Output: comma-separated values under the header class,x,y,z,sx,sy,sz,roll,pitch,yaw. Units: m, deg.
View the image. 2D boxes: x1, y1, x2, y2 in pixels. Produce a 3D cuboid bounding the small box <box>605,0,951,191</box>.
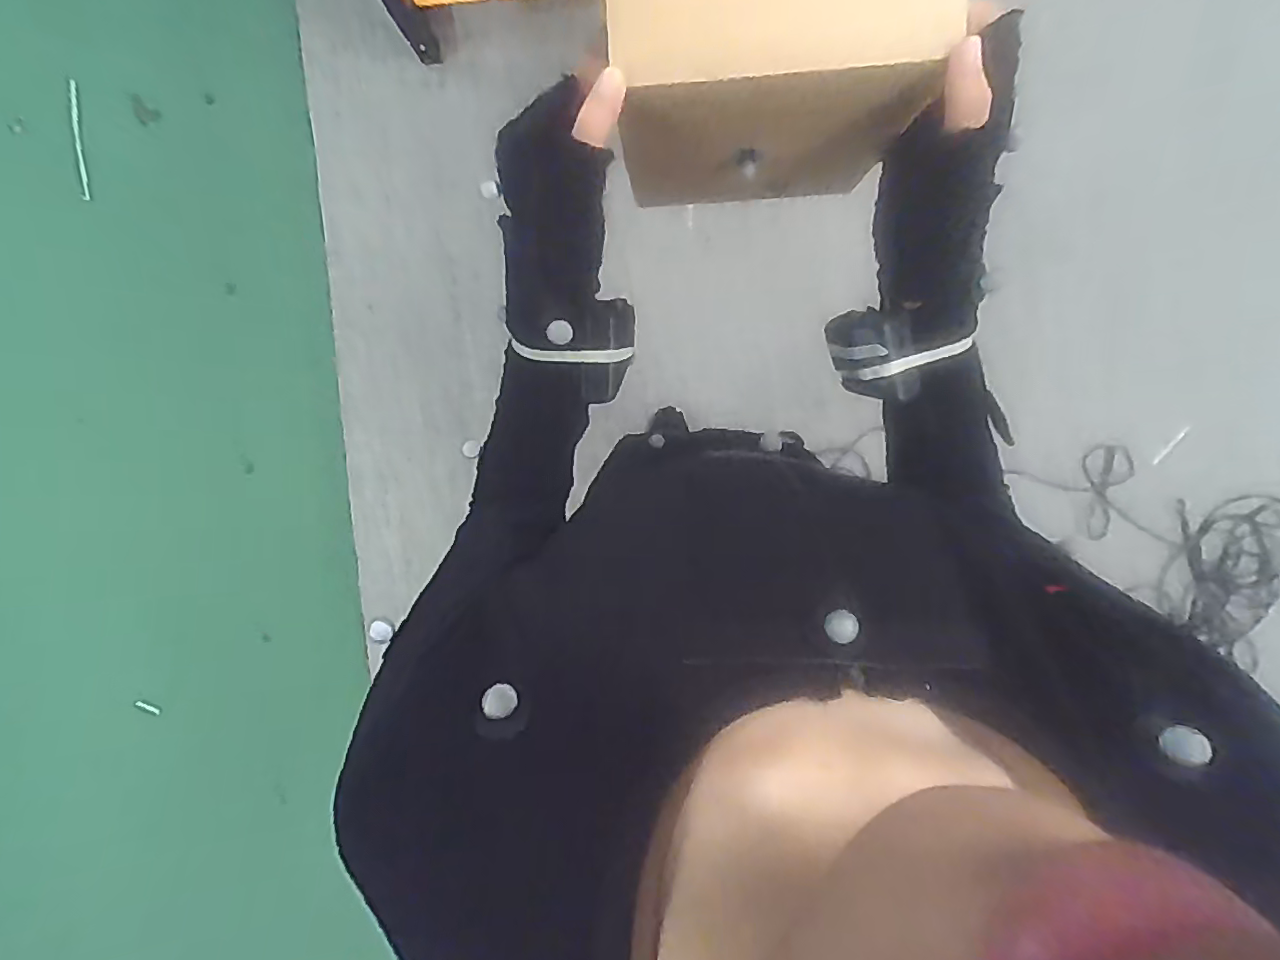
class,x,y,z,sx,sy,sz,roll,pitch,yaw
small box,0.068,-0.295,0.330,0.168,0.176,0.179,-2,98,4
